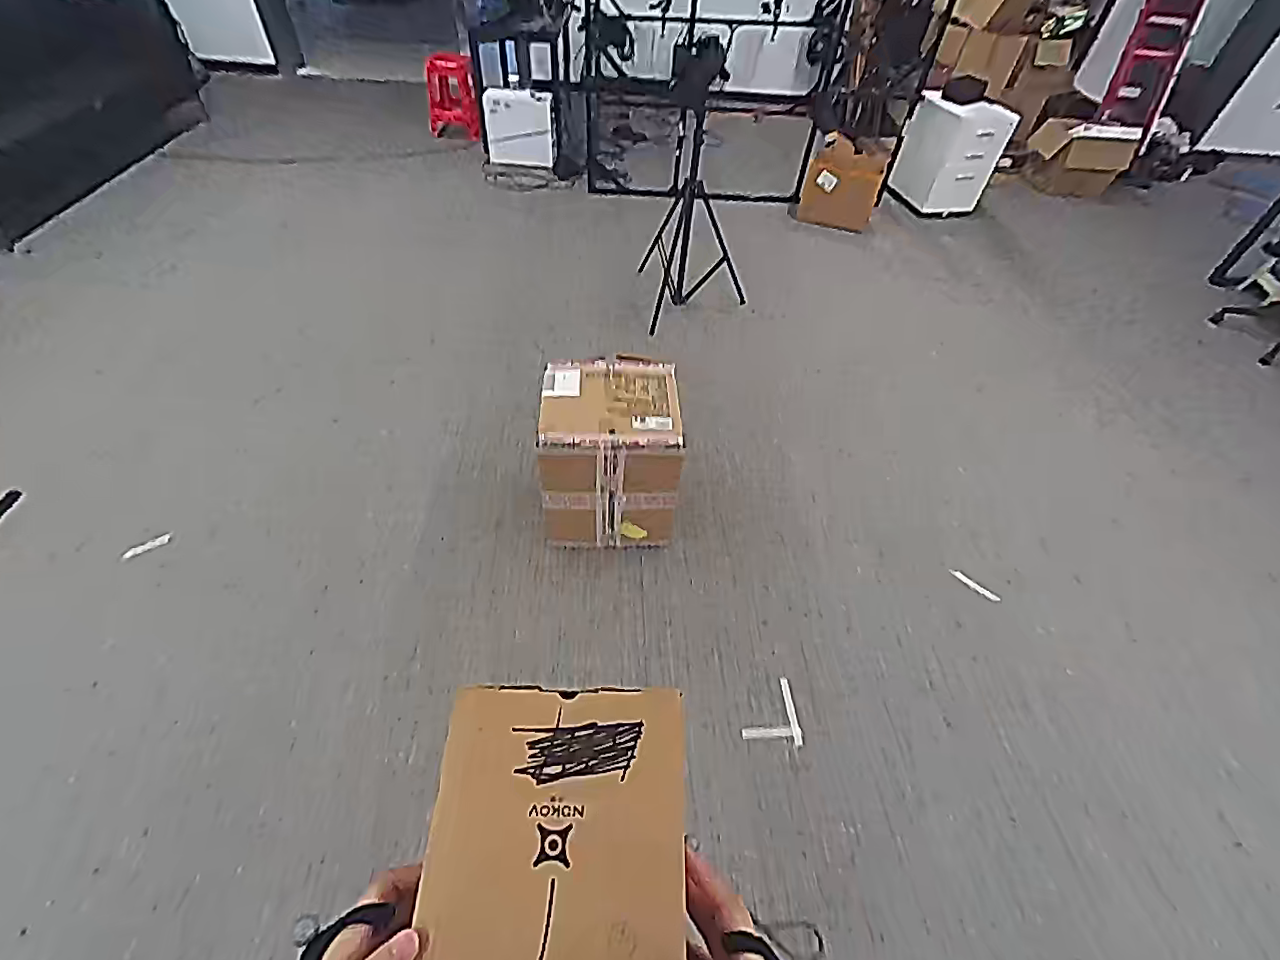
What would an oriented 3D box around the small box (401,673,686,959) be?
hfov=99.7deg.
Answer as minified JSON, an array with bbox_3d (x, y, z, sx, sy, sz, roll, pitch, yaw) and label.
[{"bbox_3d":[-0.053,0.260,0.416,0.168,0.176,0.179,1,58,1],"label":"small box"}]
